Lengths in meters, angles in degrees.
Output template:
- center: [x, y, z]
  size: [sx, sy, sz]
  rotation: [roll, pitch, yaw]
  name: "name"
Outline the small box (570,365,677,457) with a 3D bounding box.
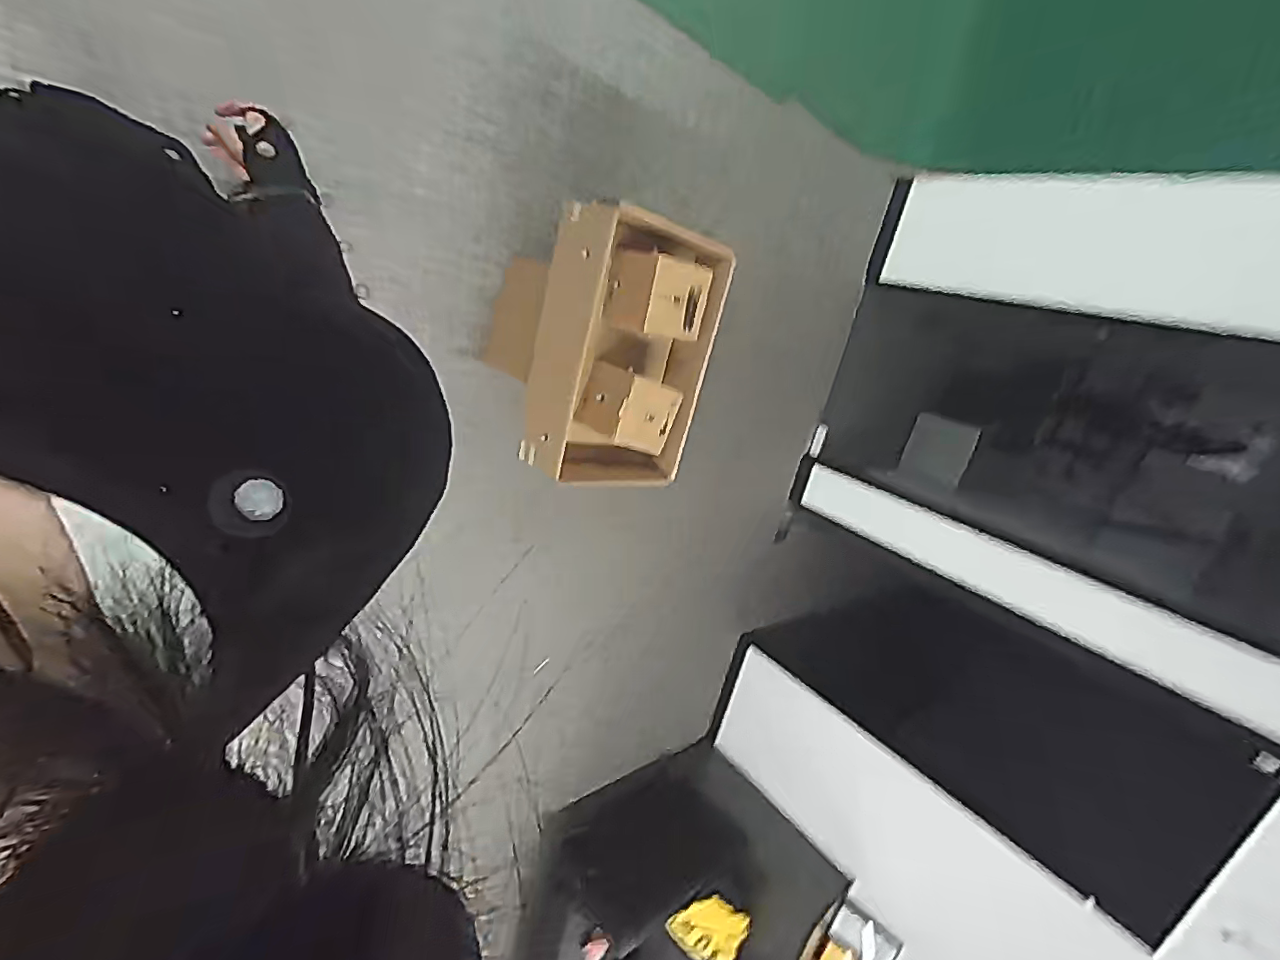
- center: [-0.047, -0.177, 1.359]
  size: [0.179, 0.176, 0.168]
  rotation: [14, 102, -46]
  name: "small box"
